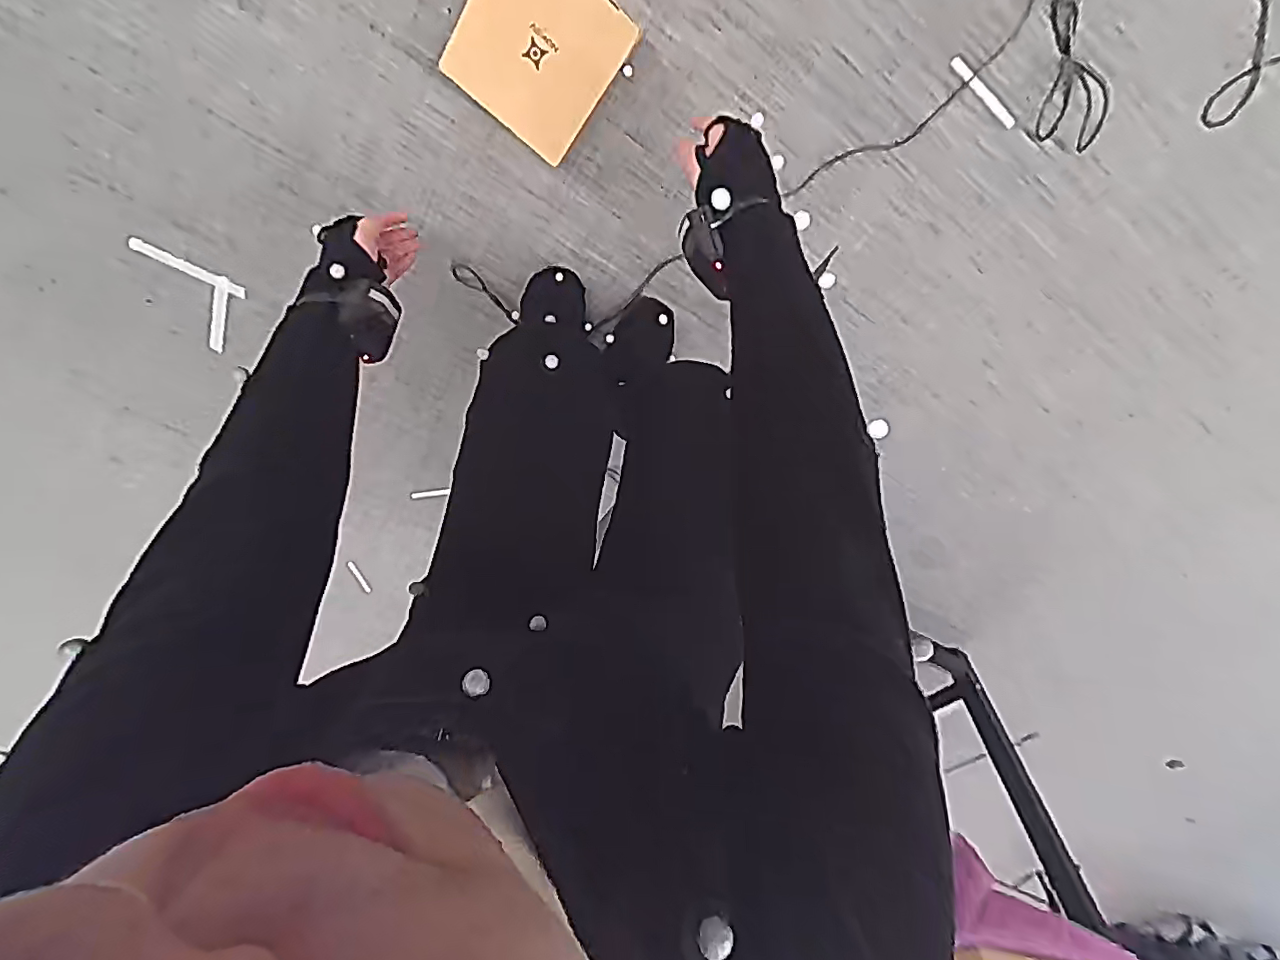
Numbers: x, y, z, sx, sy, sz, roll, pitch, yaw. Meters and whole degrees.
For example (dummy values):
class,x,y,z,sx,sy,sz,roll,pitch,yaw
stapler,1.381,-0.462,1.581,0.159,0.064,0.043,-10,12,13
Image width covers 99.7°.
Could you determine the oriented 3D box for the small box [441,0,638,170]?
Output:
class,x,y,z,sx,sy,sz,roll,pitch,yaw
small box,-0.112,-0.531,0.672,0.168,0.176,0.179,32,122,-23
